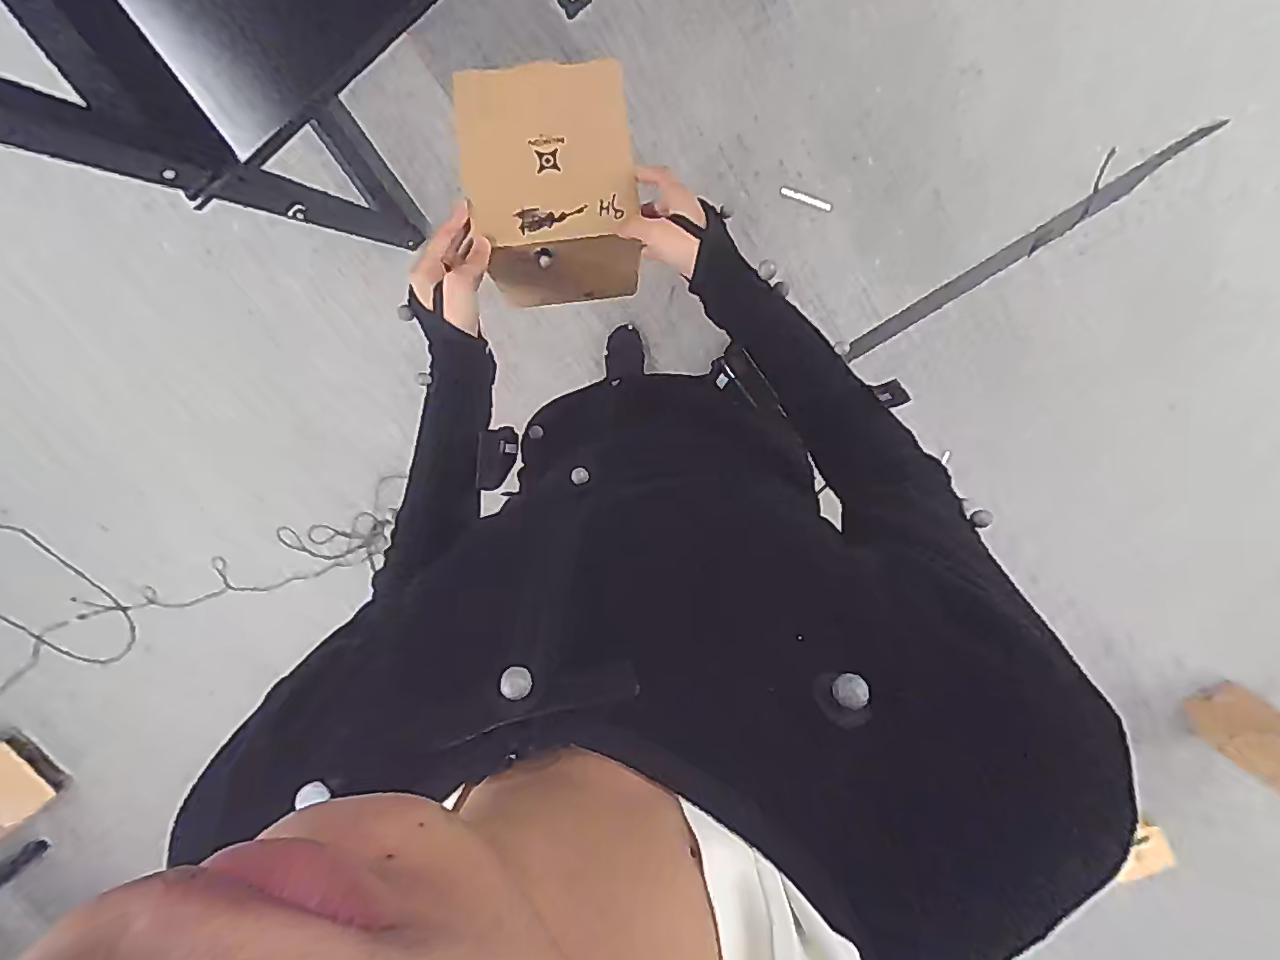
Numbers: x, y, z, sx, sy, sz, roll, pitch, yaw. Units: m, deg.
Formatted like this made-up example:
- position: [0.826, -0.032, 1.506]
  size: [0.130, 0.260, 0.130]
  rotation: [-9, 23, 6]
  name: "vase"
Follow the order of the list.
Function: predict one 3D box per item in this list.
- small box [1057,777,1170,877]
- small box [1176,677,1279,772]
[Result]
- position: [1.411, 1.031, 1.625]
  size: [0.168, 0.176, 0.179]
  rotation: [-31, 102, 12]
  name: "small box"
- position: [1.858, 0.759, 1.691]
  size: [0.168, 0.176, 0.179]
  rotation: [-35, 102, 11]
  name: "small box"
